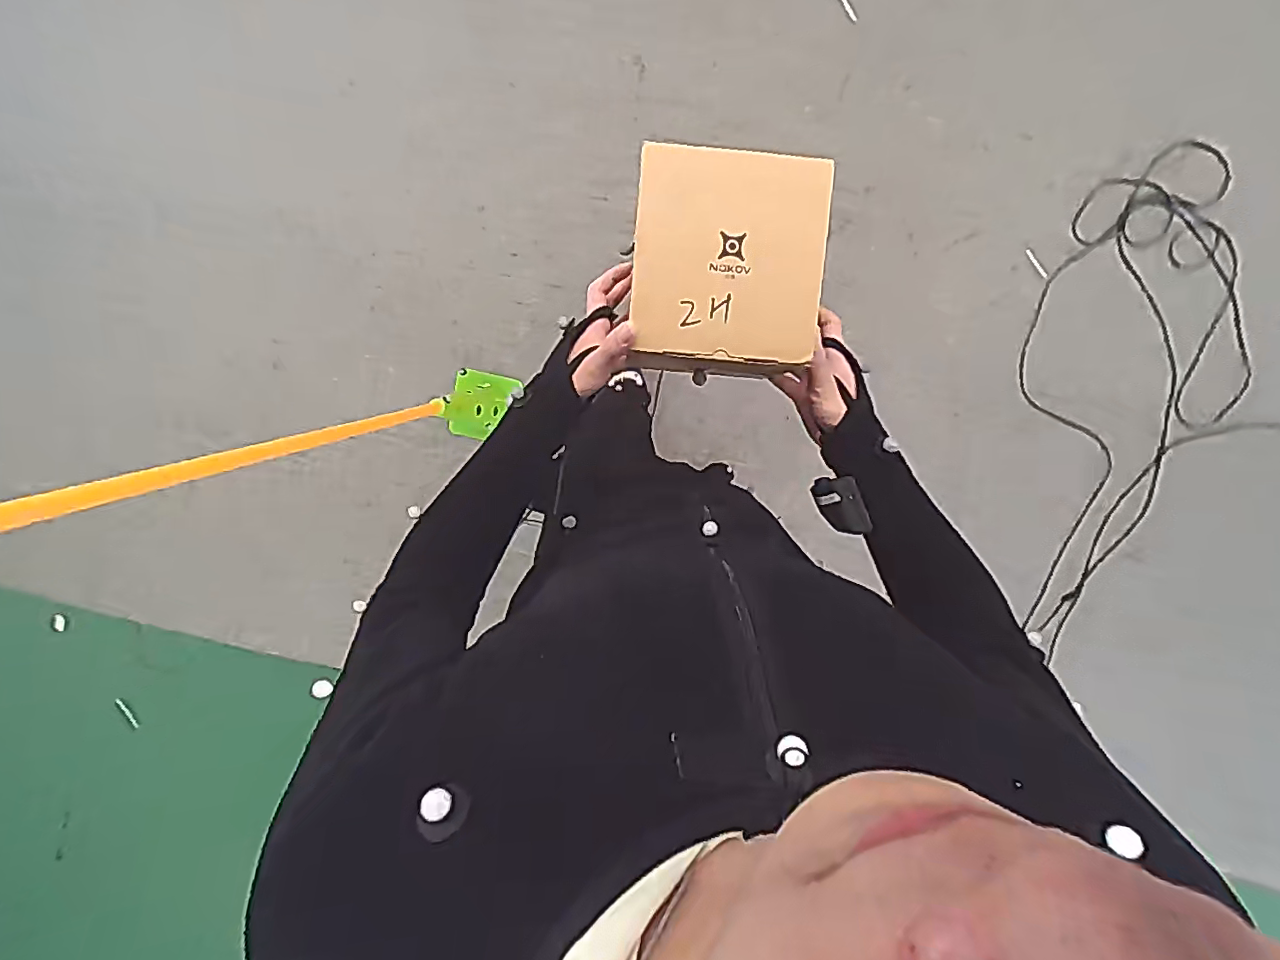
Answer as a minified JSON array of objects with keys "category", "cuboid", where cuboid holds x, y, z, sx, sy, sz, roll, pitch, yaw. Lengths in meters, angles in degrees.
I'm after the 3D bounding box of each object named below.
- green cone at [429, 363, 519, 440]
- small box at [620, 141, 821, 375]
[{"category":"green cone","cuboid":[-0.477,-0.204,1.444,0.202,0.368,0.200,13,100,-1]},{"category":"small box","cuboid":[0.068,-0.208,0.555,0.168,0.176,0.179,4,97,-2]}]
